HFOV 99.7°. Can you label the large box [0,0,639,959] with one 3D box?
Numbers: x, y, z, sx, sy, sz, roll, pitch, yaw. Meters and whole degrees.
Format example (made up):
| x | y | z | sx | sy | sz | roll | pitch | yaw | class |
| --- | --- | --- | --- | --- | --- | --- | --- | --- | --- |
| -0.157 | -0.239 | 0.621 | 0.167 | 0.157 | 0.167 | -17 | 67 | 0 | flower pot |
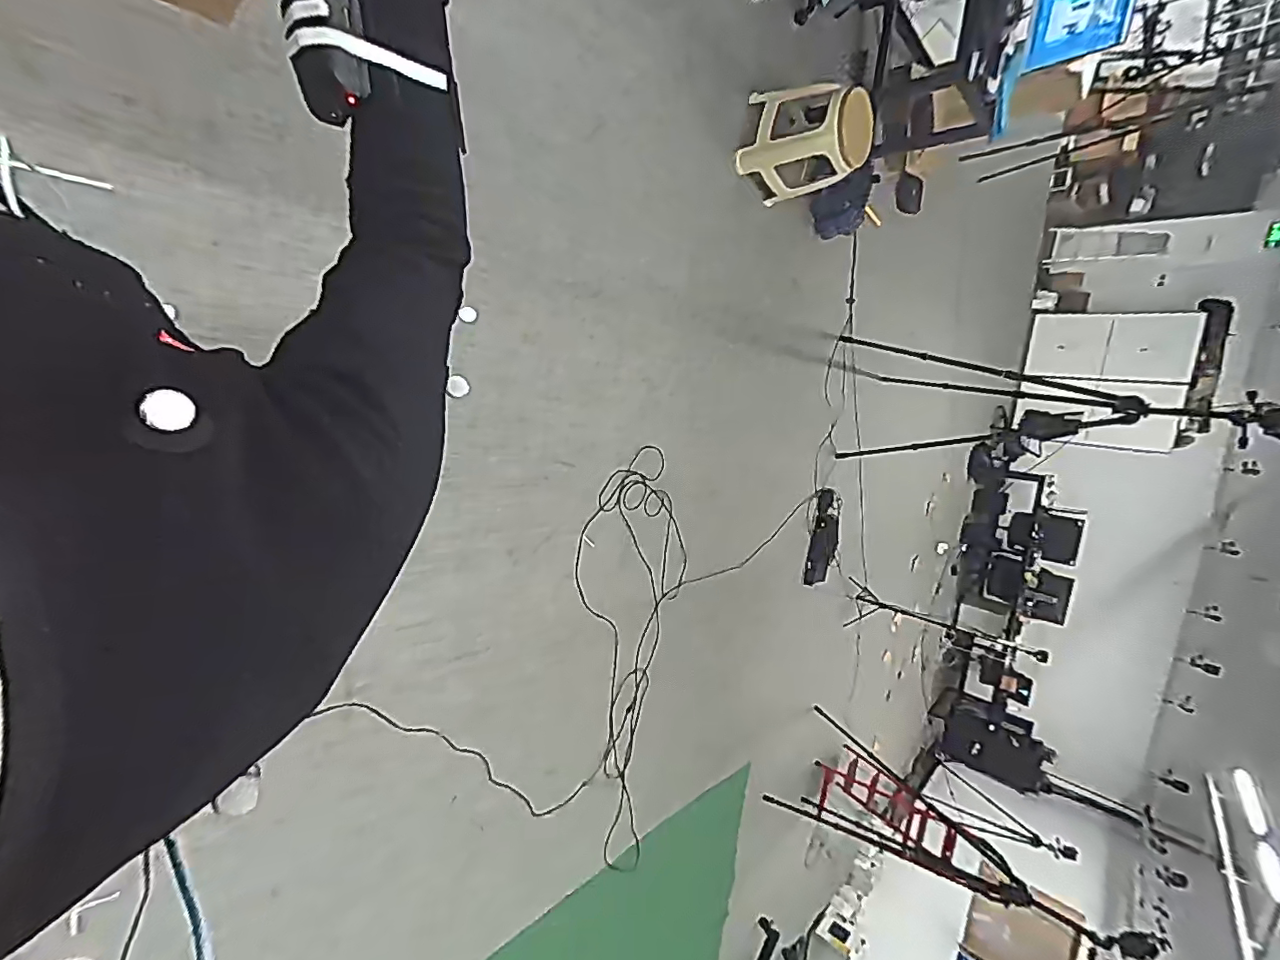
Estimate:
| x | y | z | sx | sy | sz | roll | pitch | yaw | class |
| --- | --- | --- | --- | --- | --- | --- | --- | --- | --- |
| -0.203 | 0.038 | 0.312 | 0.320 | 0.320 | 0.408 | 12 | 61 | -17 | large box |
